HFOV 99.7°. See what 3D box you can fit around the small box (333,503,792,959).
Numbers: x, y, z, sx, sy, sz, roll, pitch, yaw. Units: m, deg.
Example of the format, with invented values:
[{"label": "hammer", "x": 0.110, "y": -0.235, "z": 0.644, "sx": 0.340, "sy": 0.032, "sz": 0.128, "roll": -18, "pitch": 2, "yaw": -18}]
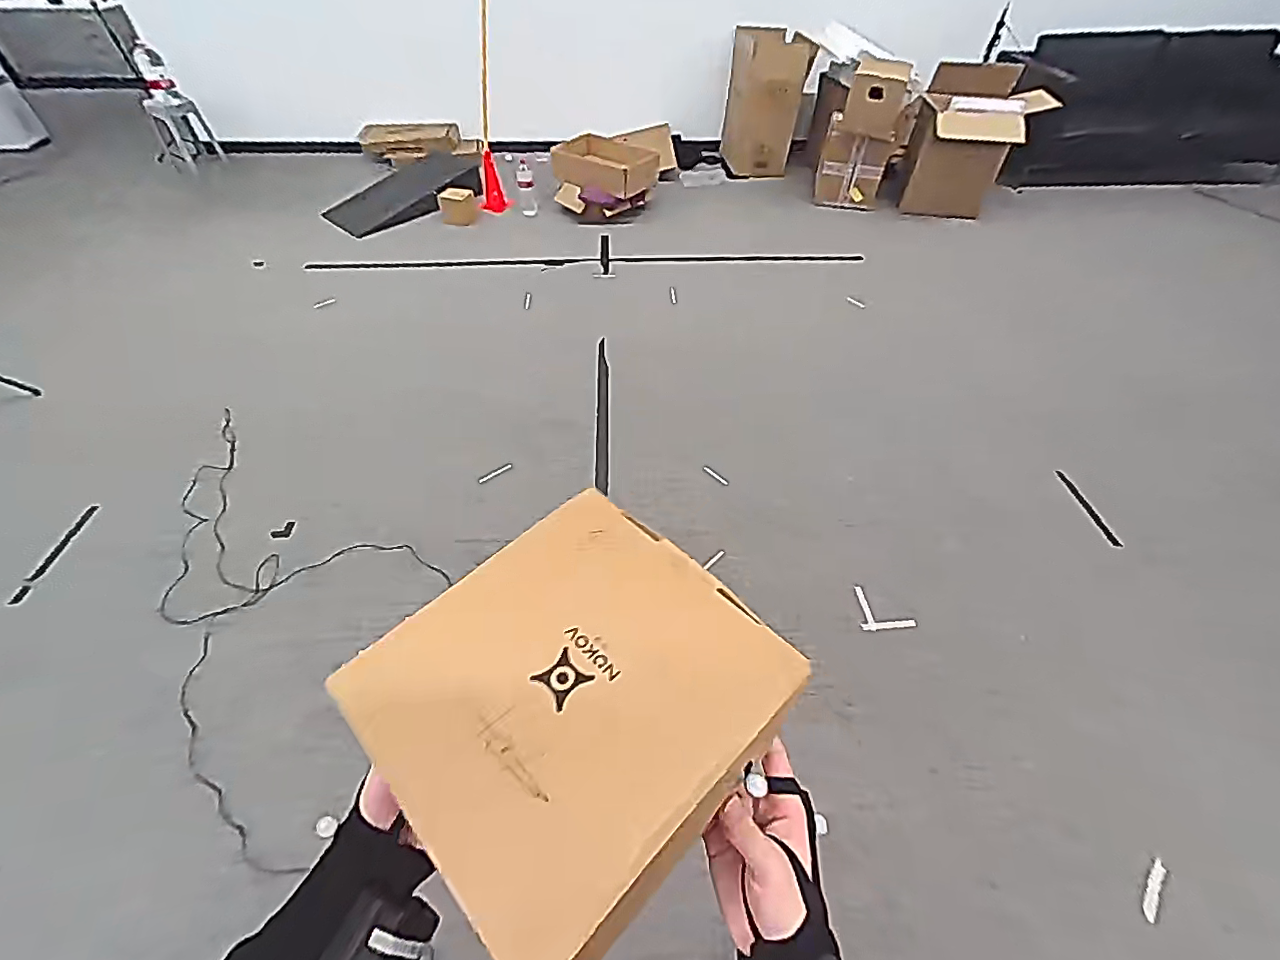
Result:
[{"label": "small box", "x": -0.036, "y": 0.154, "z": 0.333, "sx": 0.168, "sy": 0.176, "sz": 0.179, "roll": 35, "pitch": 61, "yaw": 28}]
